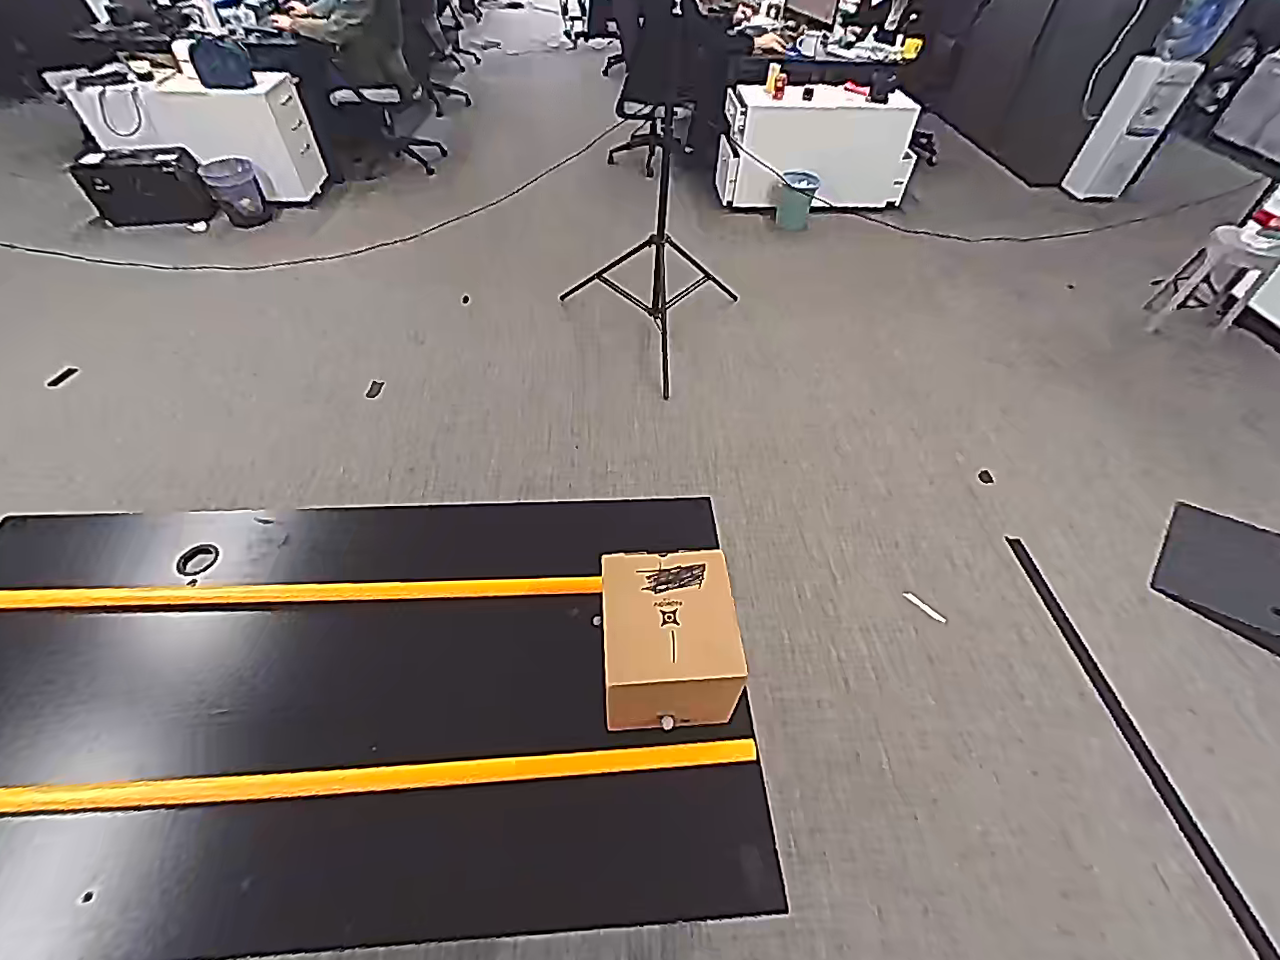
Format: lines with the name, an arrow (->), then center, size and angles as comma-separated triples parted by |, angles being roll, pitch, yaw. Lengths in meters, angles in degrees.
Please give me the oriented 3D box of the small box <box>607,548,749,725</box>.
small box -> 0.038, 0.212, 0.734 | 0.168, 0.176, 0.179 | -2, 50, -3
